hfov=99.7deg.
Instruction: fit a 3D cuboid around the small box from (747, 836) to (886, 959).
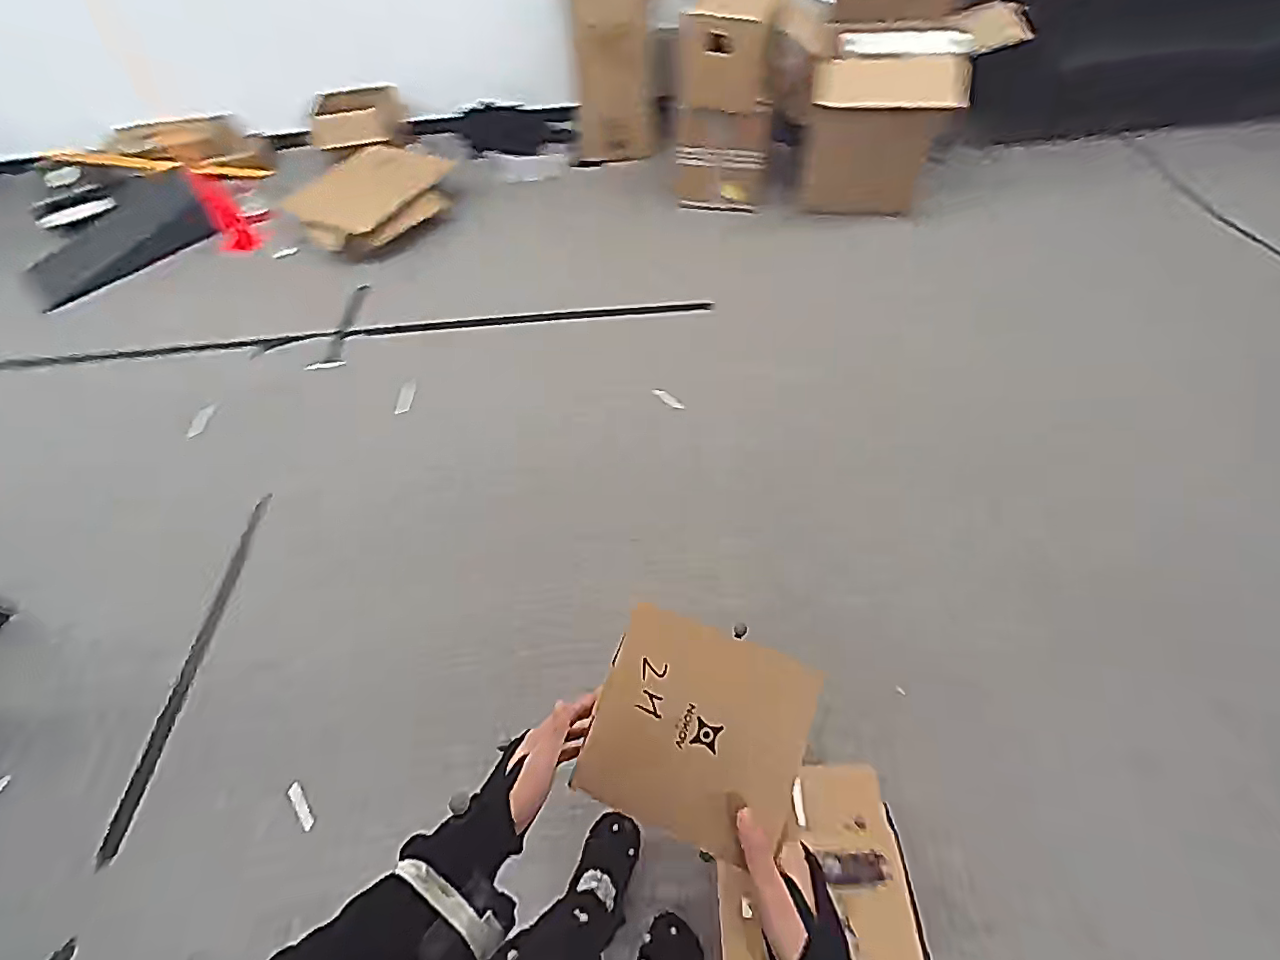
[{"bbox_3d":[0.263,0.666,0.842,0.168,0.176,0.179,-5,55,4],"label":"small box"}]
